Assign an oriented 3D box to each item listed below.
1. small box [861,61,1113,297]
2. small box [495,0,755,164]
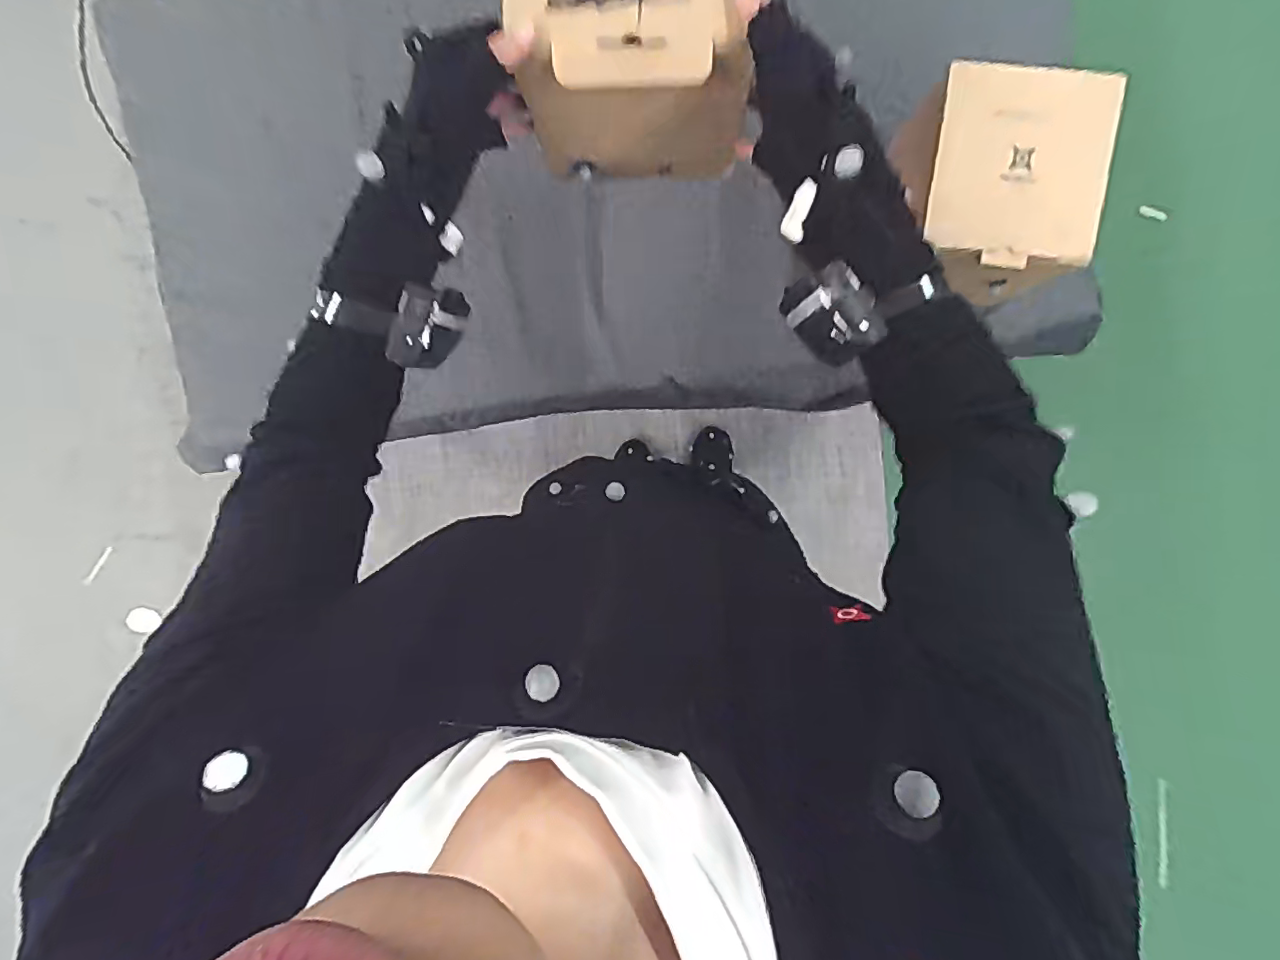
[{"bbox_3d":[0.363,-0.315,0.604,0.168,0.176,0.179,6,94,2],"label":"small box"},{"bbox_3d":[-0.005,-0.365,0.410,0.168,0.176,0.179,0,93,2],"label":"small box"}]
